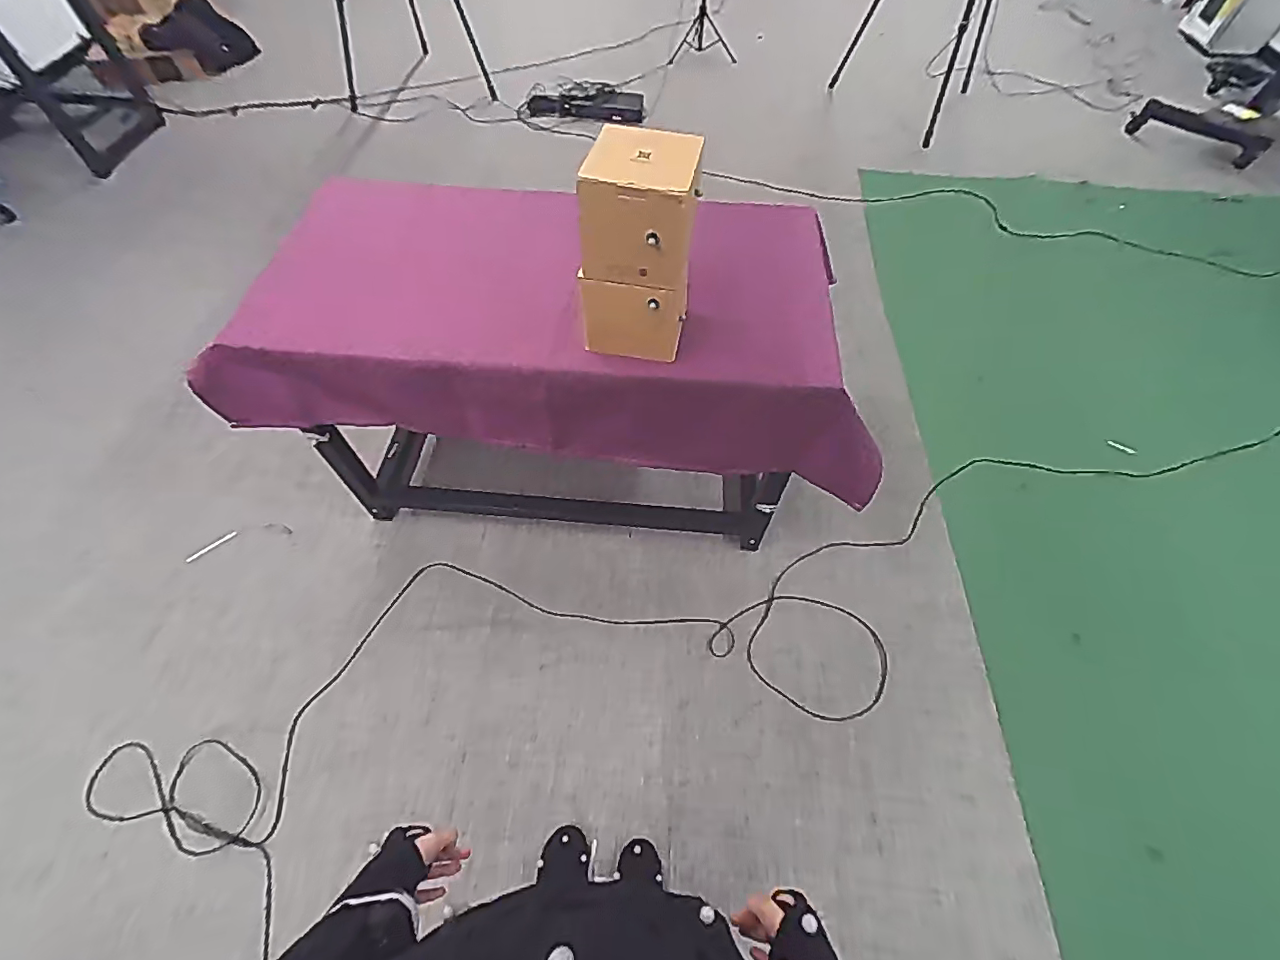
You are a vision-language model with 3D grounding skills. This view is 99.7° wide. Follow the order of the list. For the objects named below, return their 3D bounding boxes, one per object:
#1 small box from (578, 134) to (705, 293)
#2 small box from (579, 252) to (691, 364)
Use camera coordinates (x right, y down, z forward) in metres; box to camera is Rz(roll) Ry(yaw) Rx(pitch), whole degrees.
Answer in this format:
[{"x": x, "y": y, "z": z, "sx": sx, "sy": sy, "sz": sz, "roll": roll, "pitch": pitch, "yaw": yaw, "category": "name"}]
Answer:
[{"x": 0.005, "y": -0.437, "z": 0.896, "sx": 0.168, "sy": 0.176, "sz": 0.179, "roll": 12, "pitch": 55, "yaw": 6, "category": "small box"}, {"x": -0.006, "y": -0.342, "z": 1.029, "sx": 0.179, "sy": 0.176, "sz": 0.168, "roll": 10, "pitch": 56, "yaw": 5, "category": "small box"}]
